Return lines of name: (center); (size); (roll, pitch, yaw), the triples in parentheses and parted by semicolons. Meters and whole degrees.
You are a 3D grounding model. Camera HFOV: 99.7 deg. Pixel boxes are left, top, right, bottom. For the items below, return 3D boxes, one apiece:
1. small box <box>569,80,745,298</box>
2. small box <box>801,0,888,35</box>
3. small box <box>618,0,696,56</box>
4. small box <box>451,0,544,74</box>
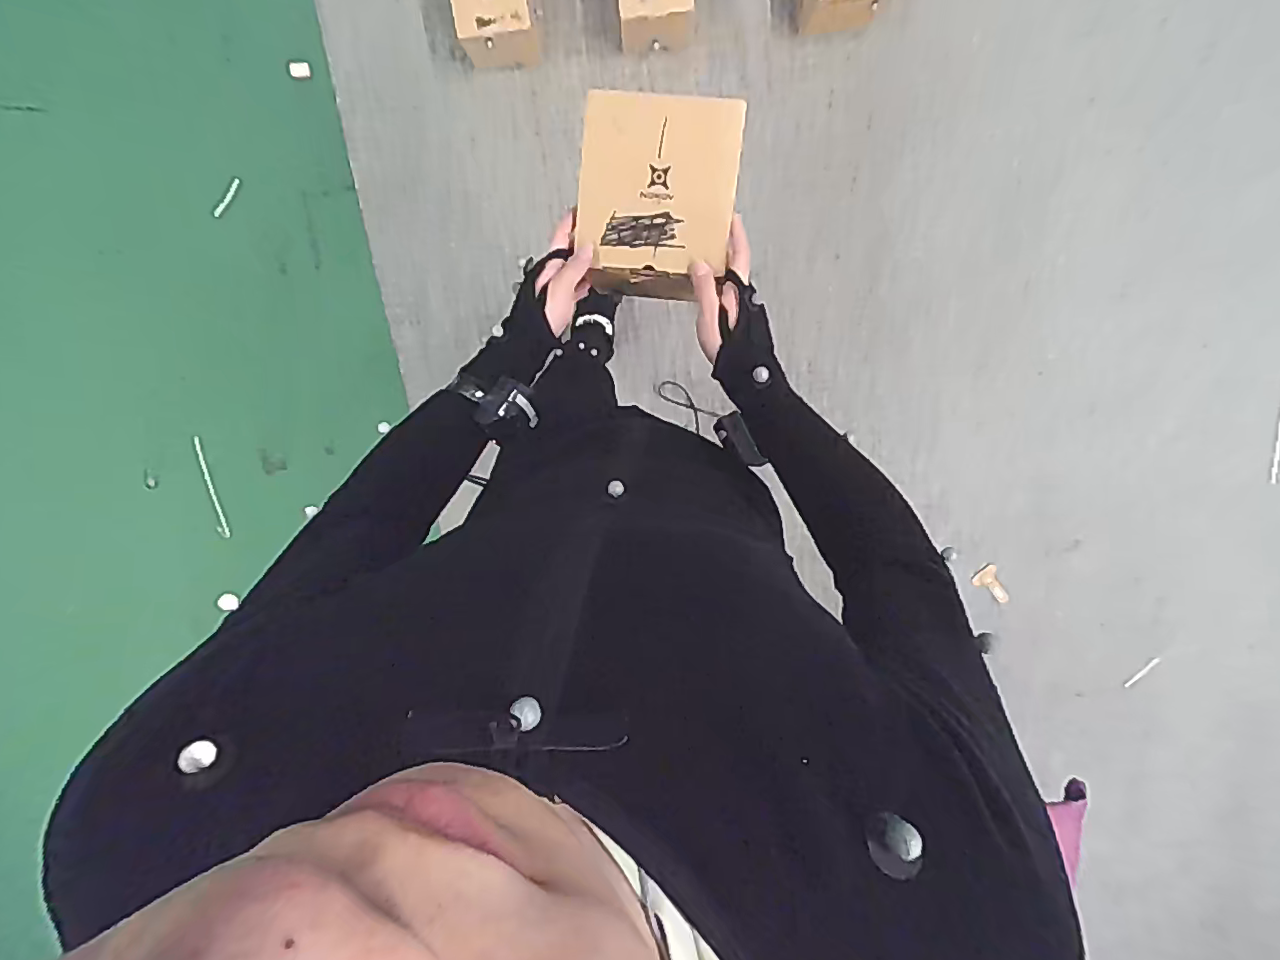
small box: (0.022, -0.318, 0.627); (0.168, 0.176, 0.179); (7, 99, 4)
small box: (0.465, -1.135, 1.208); (0.179, 0.176, 0.168); (-5, 105, 1)
small box: (0.032, -1.104, 1.217); (0.168, 0.176, 0.179); (-5, 105, 2)
small box: (-0.324, -1.069, 1.228); (0.168, 0.176, 0.179); (-6, 104, 3)
